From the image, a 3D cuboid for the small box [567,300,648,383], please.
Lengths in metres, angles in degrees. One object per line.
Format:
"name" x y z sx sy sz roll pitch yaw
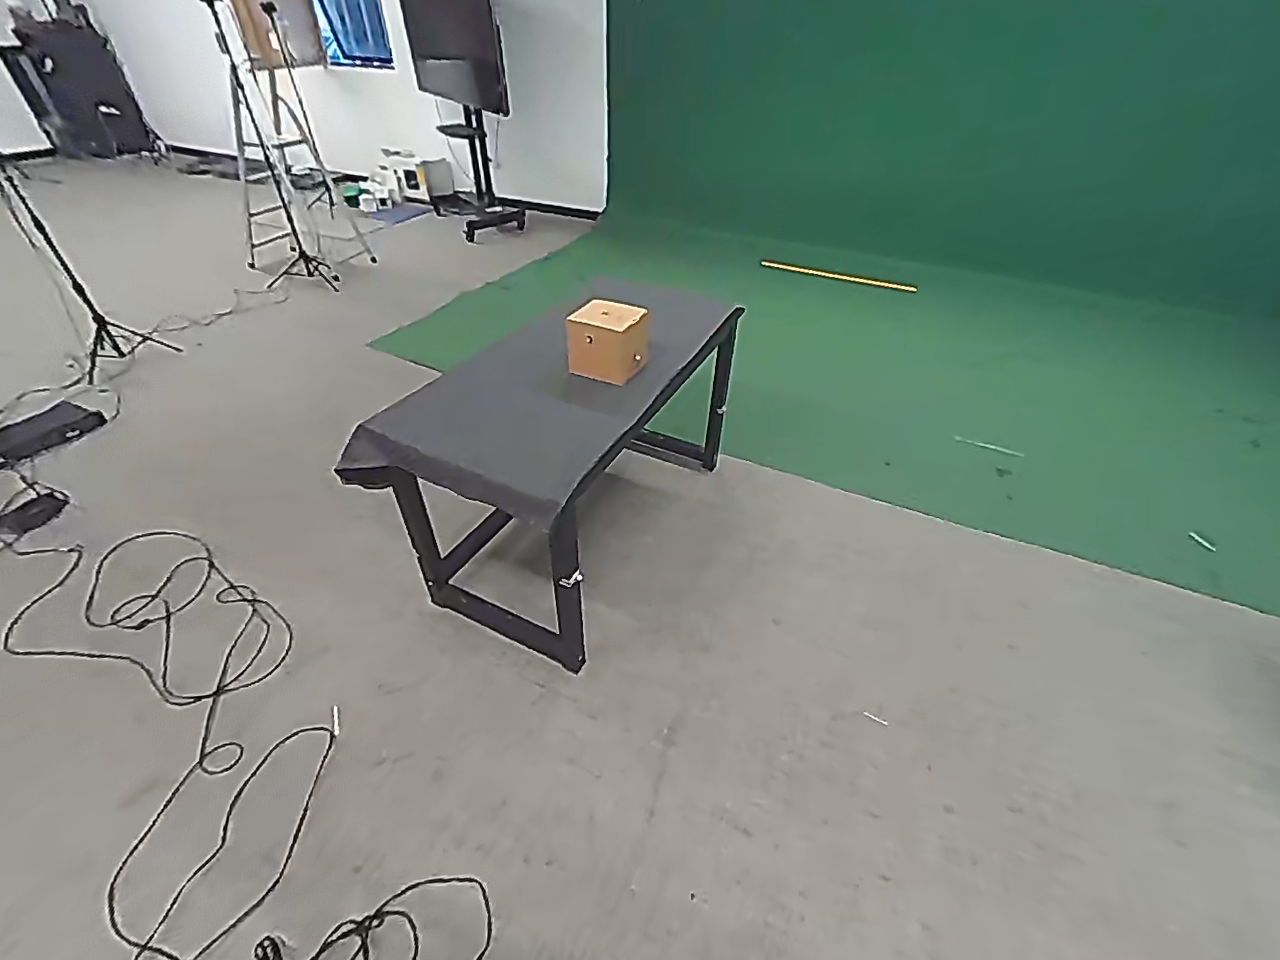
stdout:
"small box" -0.090 -0.397 1.554 0.179 0.176 0.168 18 43 19
